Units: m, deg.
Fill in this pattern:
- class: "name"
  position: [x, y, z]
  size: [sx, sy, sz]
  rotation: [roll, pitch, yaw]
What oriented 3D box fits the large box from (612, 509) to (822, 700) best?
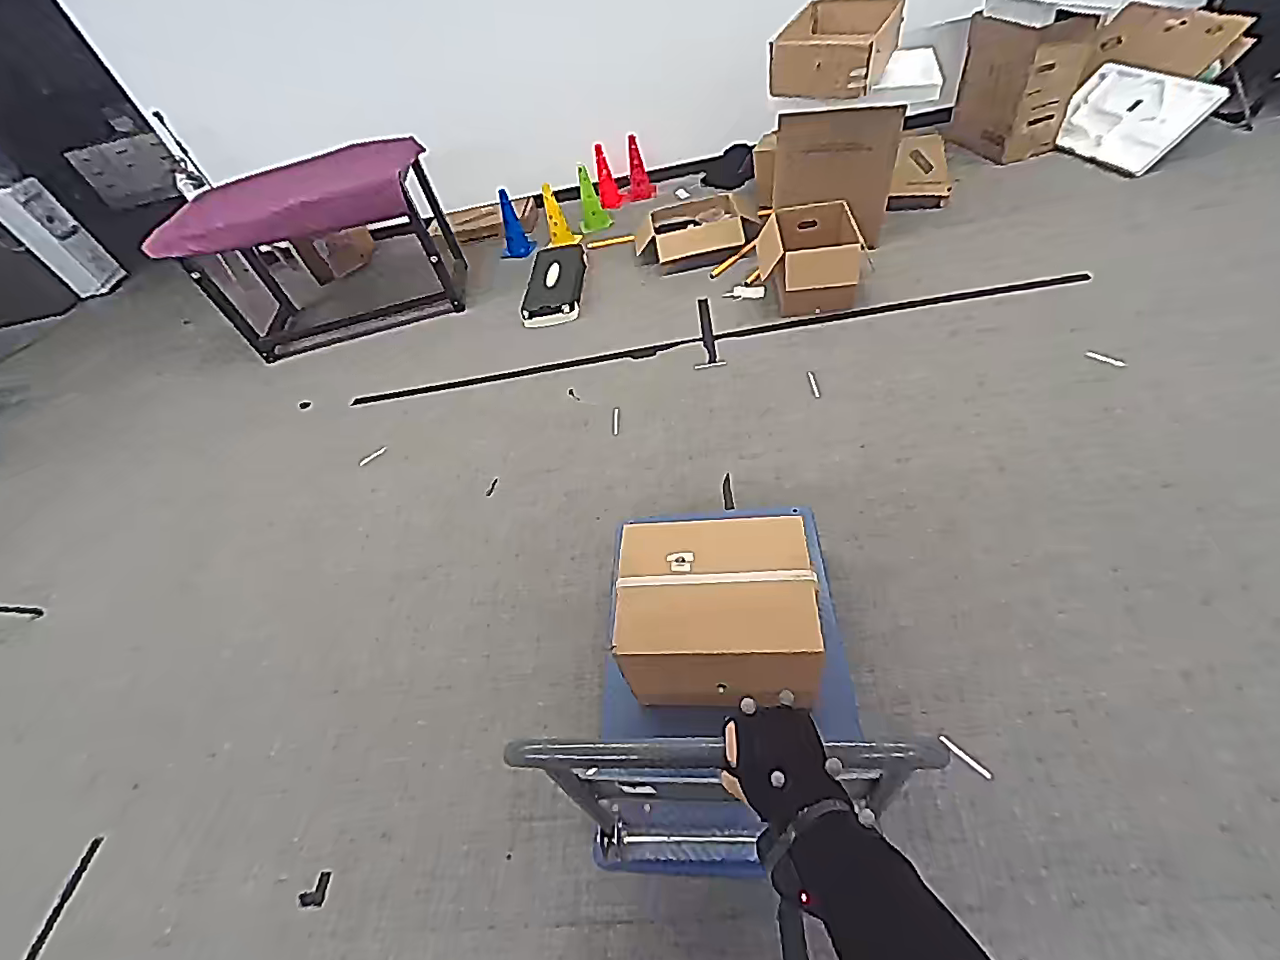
- class: "large box"
  position: [0.174, 0.294, 1.228]
  size: [0.408, 0.320, 0.320]
  rotation: [-5, 48, 11]
